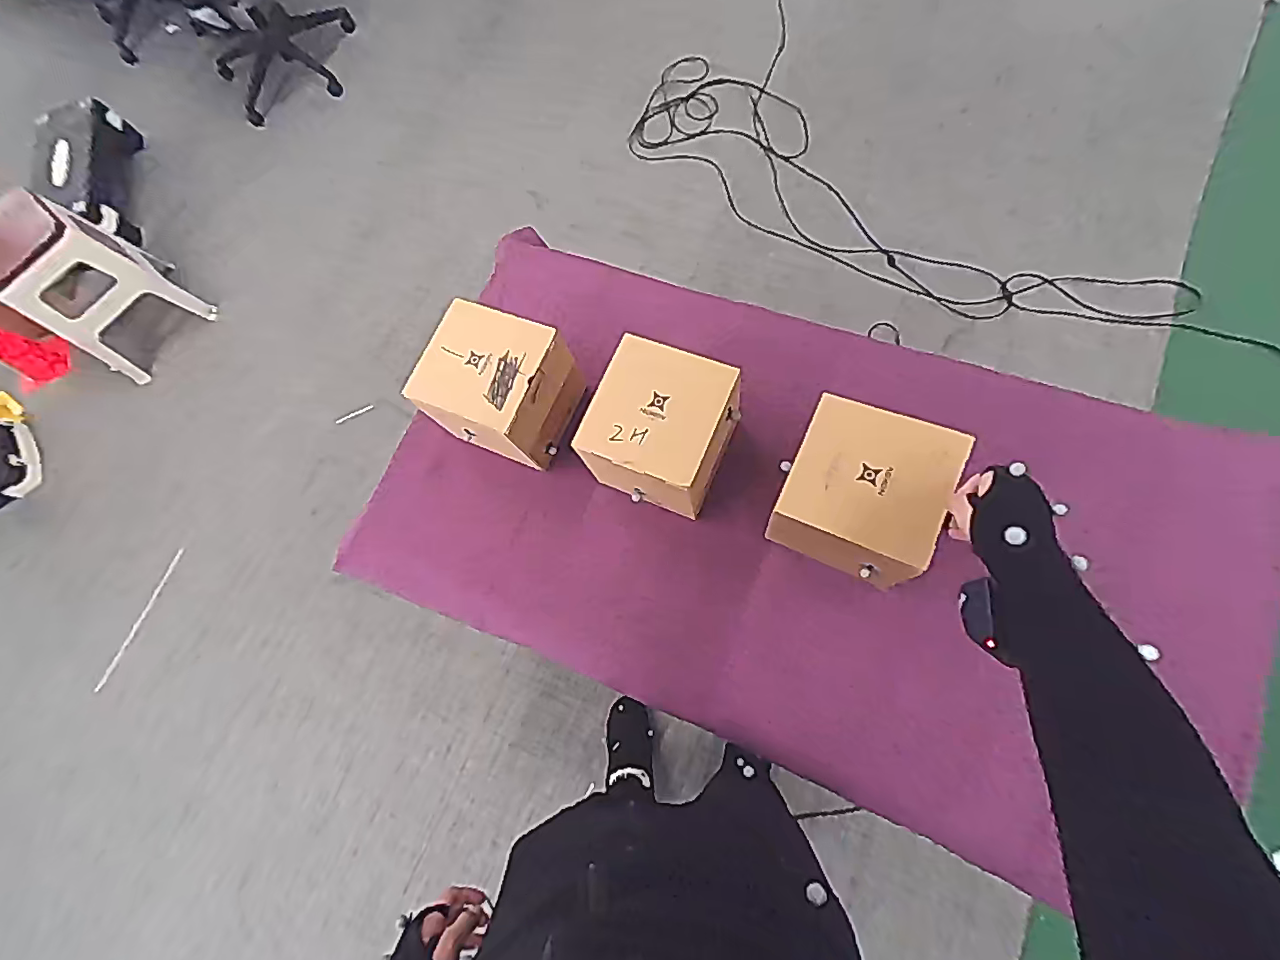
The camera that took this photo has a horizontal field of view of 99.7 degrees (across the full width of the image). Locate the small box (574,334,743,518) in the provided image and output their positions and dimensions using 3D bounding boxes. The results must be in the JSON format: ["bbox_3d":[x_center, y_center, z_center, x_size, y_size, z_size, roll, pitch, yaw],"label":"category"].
[{"bbox_3d":[0.033,-0.068,0.759,0.168,0.176,0.179,22,78,15],"label":"small box"}]

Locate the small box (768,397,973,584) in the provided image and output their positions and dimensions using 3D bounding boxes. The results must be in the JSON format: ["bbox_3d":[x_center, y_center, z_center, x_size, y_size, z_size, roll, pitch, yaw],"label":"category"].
[{"bbox_3d":[0.279,0.024,0.696,0.179,0.176,0.168,23,78,15],"label":"small box"}]

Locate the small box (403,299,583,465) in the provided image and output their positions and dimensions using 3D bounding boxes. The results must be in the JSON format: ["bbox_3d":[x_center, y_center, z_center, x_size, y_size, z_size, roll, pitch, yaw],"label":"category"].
[{"bbox_3d":[-0.206,-0.137,0.816,0.179,0.176,0.168,21,78,15],"label":"small box"}]
